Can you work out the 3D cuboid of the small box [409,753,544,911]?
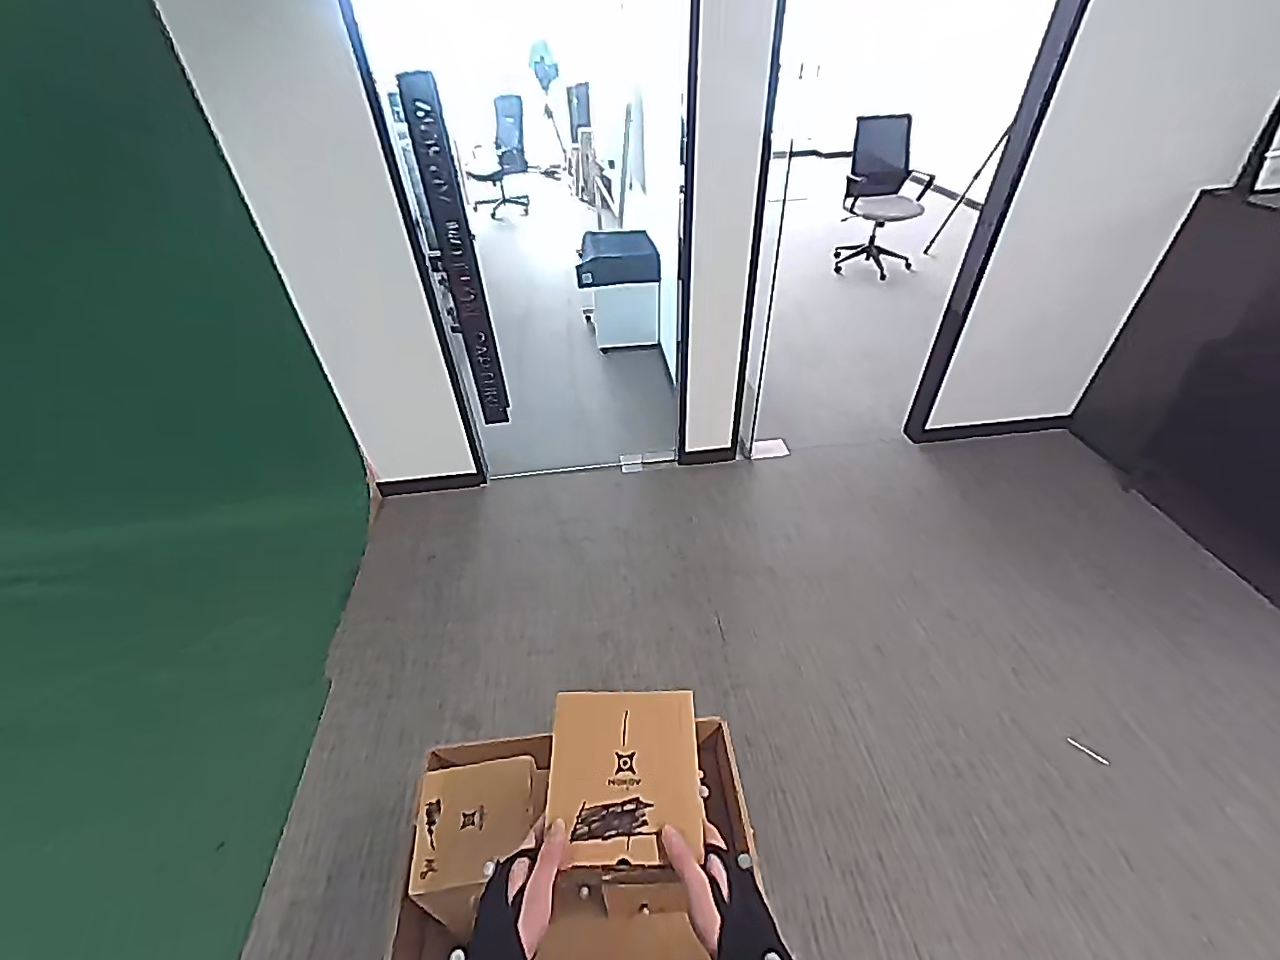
[{"bbox_3d":[-0.249,0.569,0.875,0.179,0.176,0.168,-6,41,-6],"label":"small box"}]

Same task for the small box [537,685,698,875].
[{"bbox_3d":[-0.021,0.364,0.653,0.168,0.176,0.179,0,48,0],"label":"small box"}]

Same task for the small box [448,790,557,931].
[{"bbox_3d":[-0.247,0.692,0.984,0.179,0.176,0.168,-4,41,-5],"label":"small box"}]
